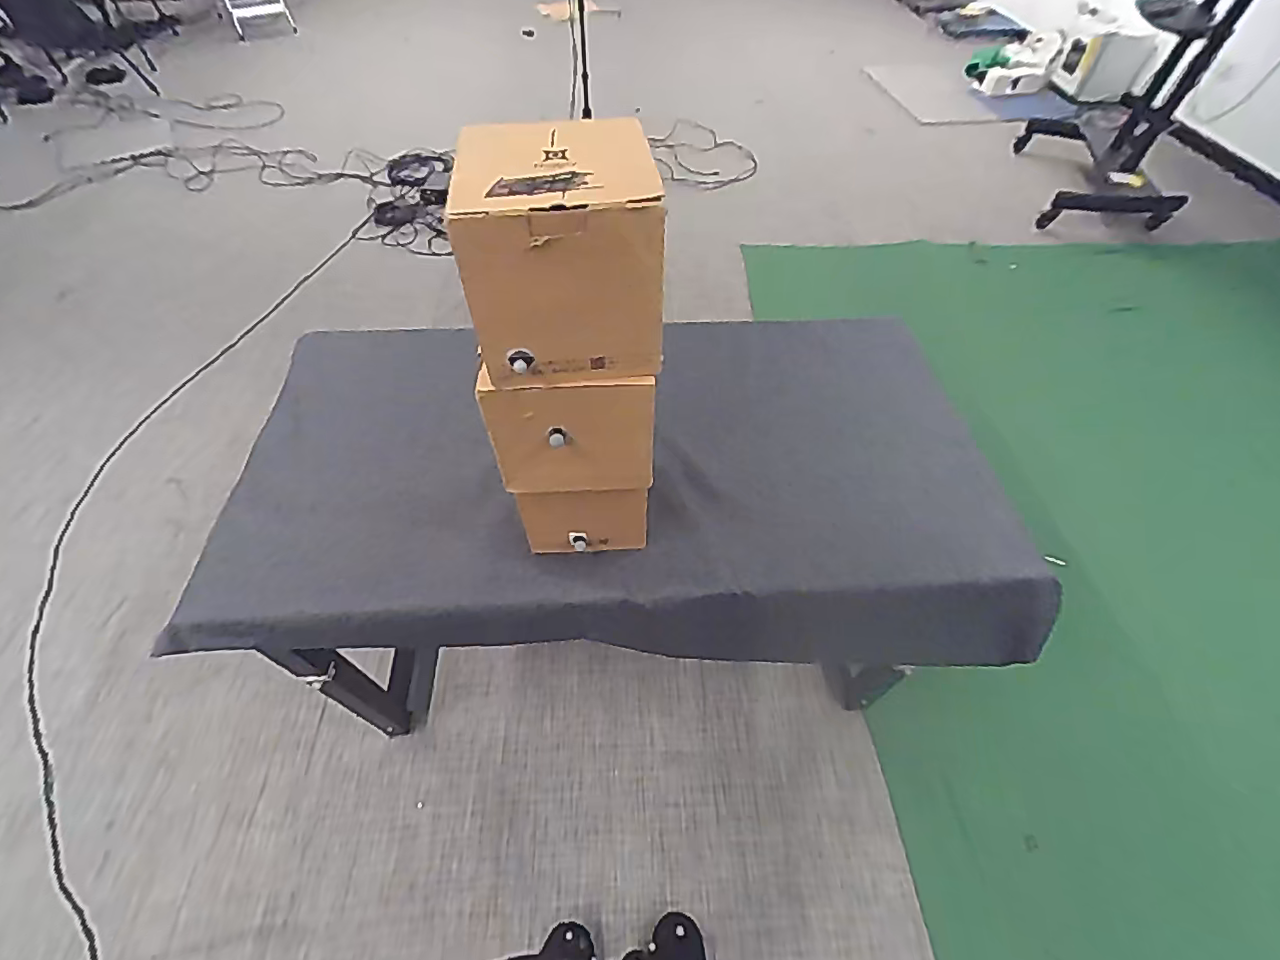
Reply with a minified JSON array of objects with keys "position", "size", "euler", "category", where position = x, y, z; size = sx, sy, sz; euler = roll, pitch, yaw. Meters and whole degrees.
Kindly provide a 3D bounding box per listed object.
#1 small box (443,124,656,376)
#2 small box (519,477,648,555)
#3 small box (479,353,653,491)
[{"position":[-0.075,-0.214,0.521],"size":[0.168,0.176,0.179],"euler":[-6,51,-4],"category":"small box"},{"position":[-0.078,-0.012,0.780],"size":[0.168,0.176,0.179],"euler":[-4,53,-2],"category":"small box"},{"position":[-0.078,-0.101,0.645],"size":[0.179,0.176,0.168],"euler":[-4,50,-4],"category":"small box"}]
